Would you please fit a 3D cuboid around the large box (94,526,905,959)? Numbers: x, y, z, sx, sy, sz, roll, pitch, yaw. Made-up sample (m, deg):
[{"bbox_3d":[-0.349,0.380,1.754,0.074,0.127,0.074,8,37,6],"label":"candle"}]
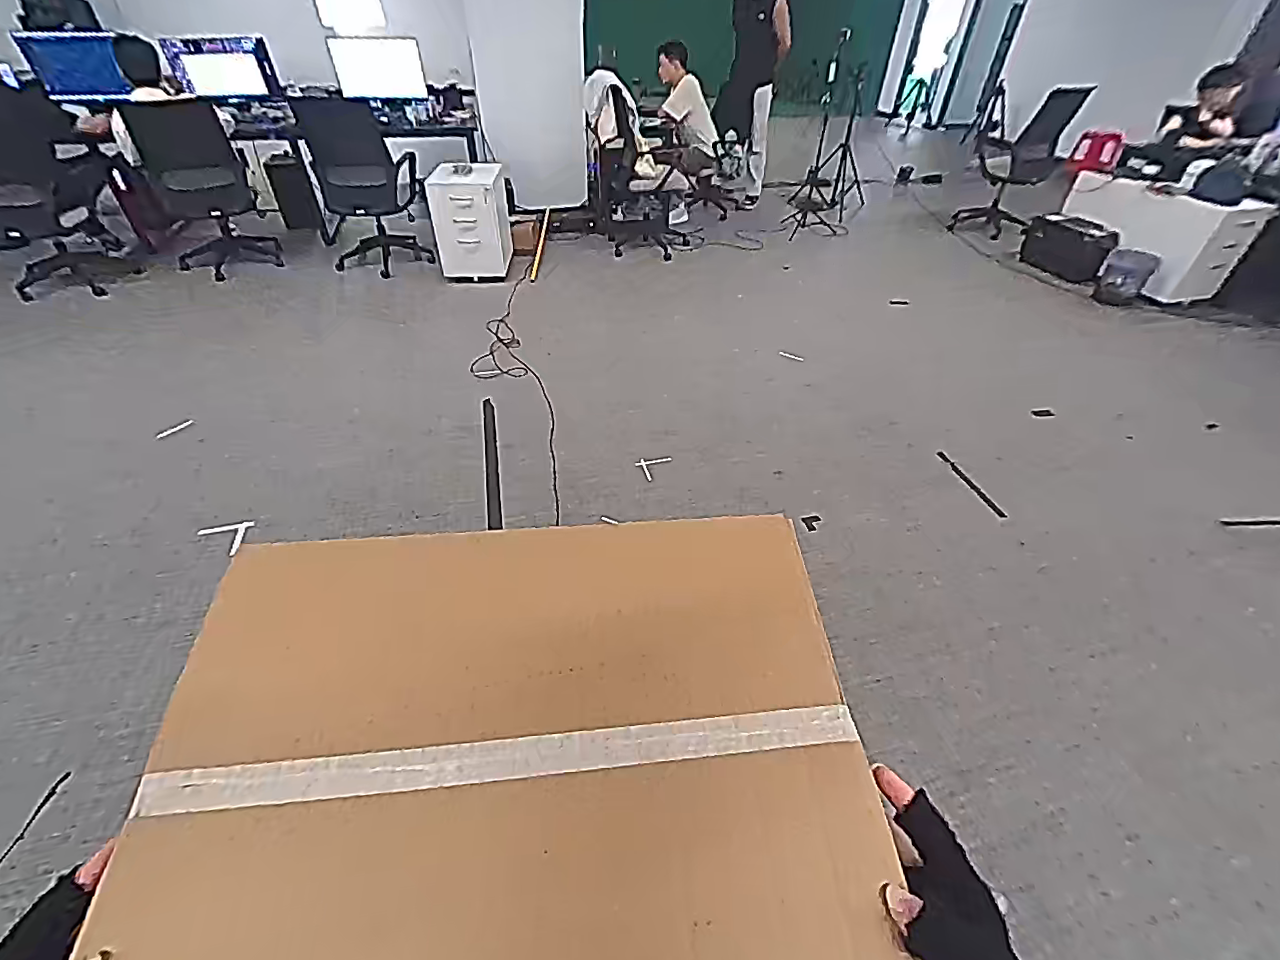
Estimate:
[{"bbox_3d":[-0.078,0.260,0.438,0.408,0.320,0.320,-3,52,-5],"label":"large box"}]
